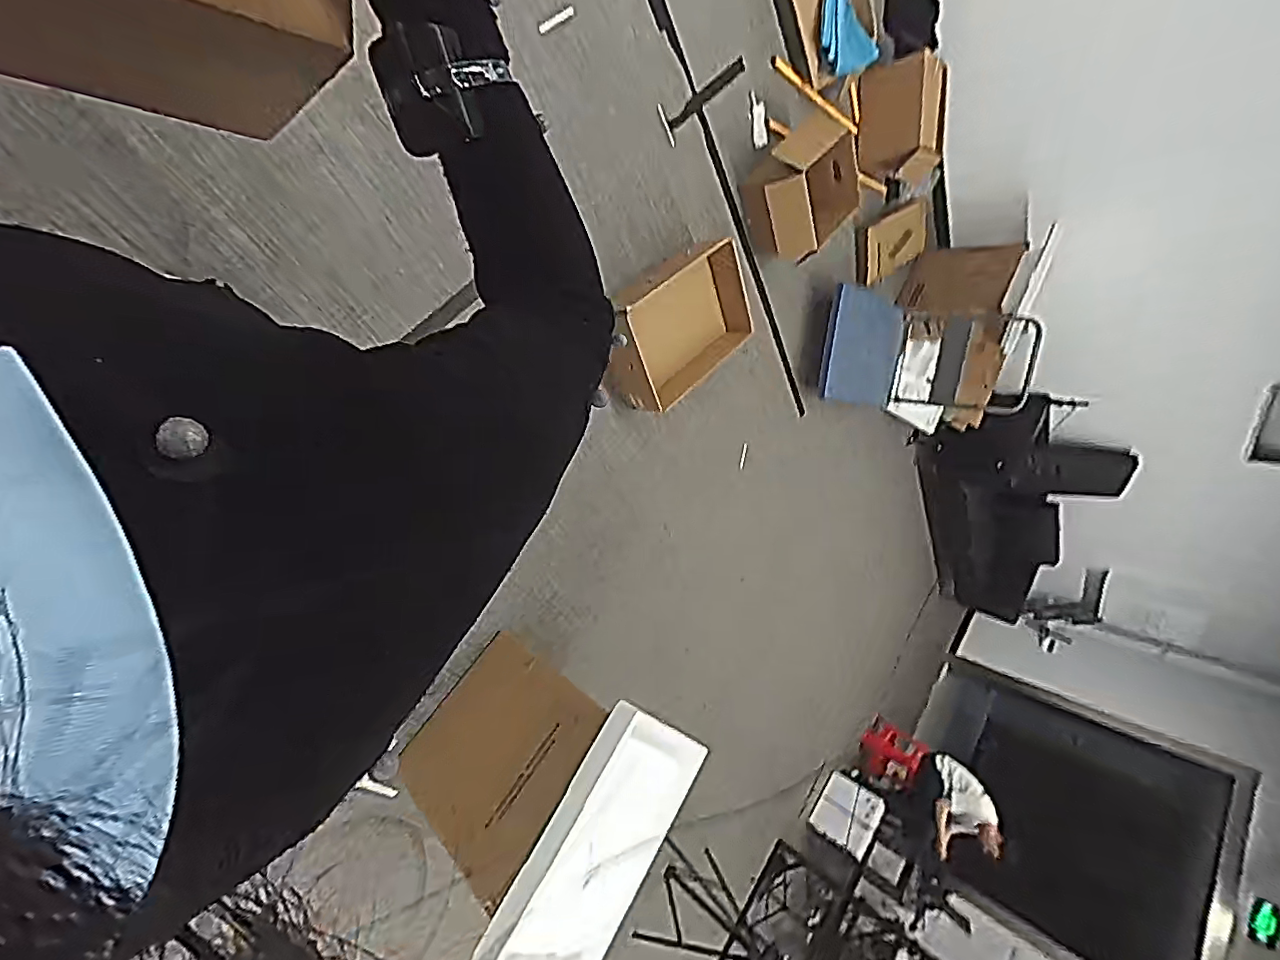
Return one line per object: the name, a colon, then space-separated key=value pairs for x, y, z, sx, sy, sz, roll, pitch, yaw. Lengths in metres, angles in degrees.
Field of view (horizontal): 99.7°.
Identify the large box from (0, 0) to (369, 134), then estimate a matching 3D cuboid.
large box: x=-0.405 y=-0.429 z=0.282 sx=0.408 sy=0.320 sz=0.320 roll=-8 pitch=110 yaw=-41
